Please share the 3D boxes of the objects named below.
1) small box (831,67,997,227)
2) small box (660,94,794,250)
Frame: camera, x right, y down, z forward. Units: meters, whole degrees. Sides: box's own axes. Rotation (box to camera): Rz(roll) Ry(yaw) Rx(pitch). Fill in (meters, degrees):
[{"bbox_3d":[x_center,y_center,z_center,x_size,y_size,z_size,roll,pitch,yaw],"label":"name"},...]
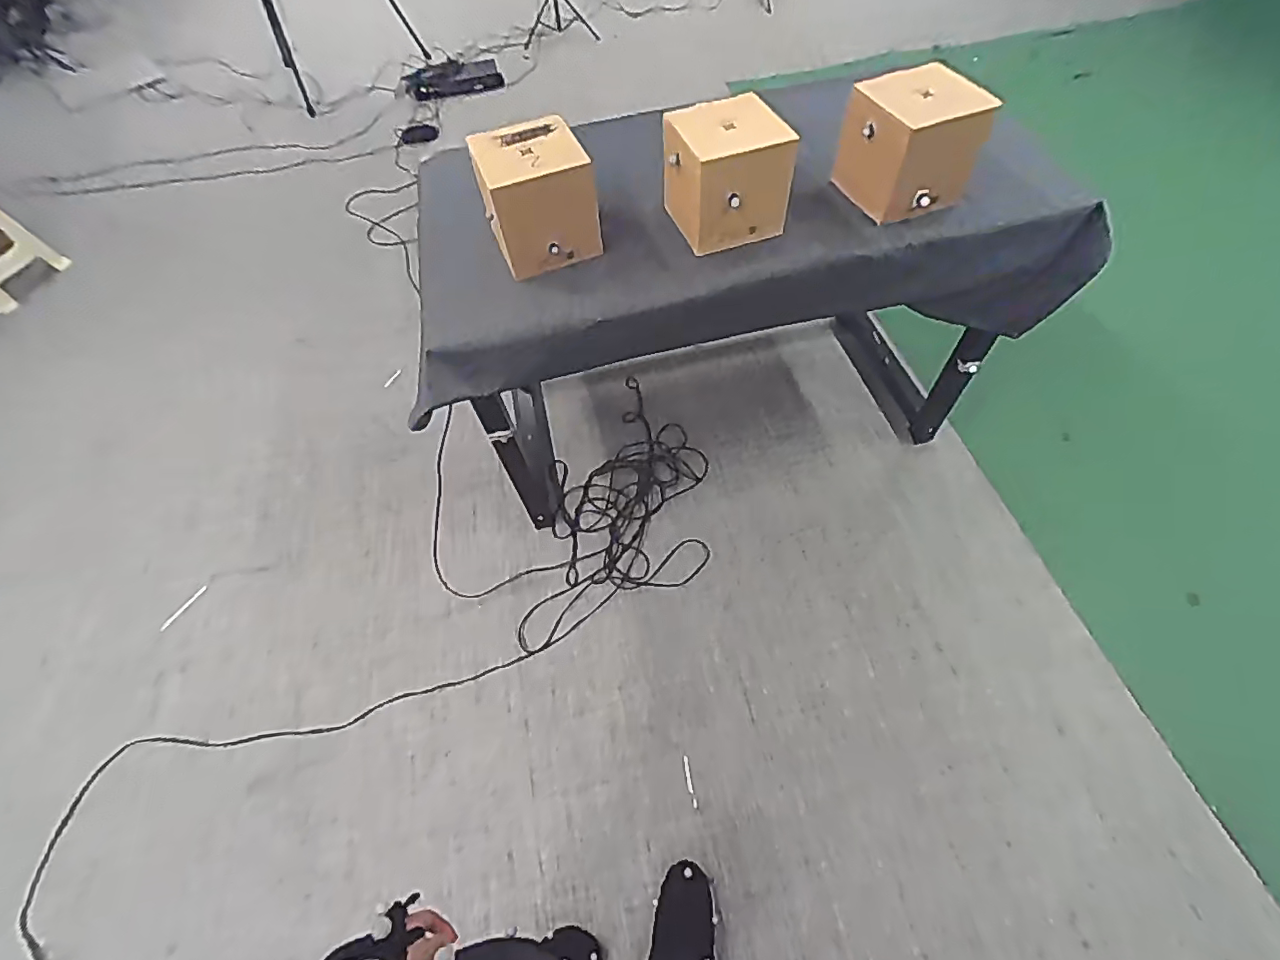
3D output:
[{"bbox_3d":[0.463,-0.581,0.950,0.168,0.176,0.179,-19,59,-7],"label":"small box"},{"bbox_3d":[0.143,-0.522,0.935,0.168,0.176,0.179,-18,58,-7],"label":"small box"}]
